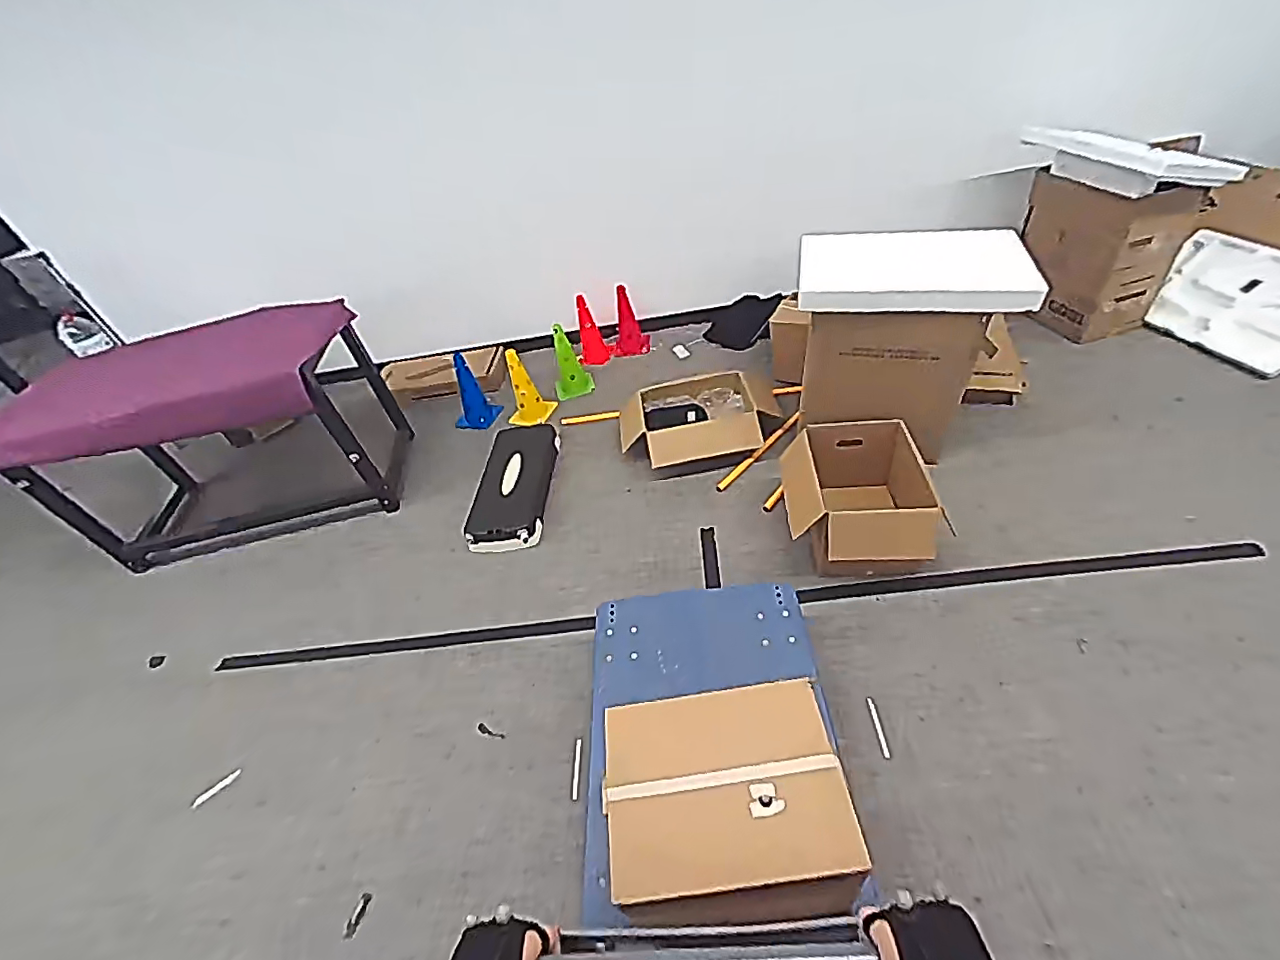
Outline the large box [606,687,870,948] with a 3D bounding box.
[{"bbox_3d":[0.163,0.644,1.034,0.408,0.320,0.320,-9,42,1],"label":"large box"}]
